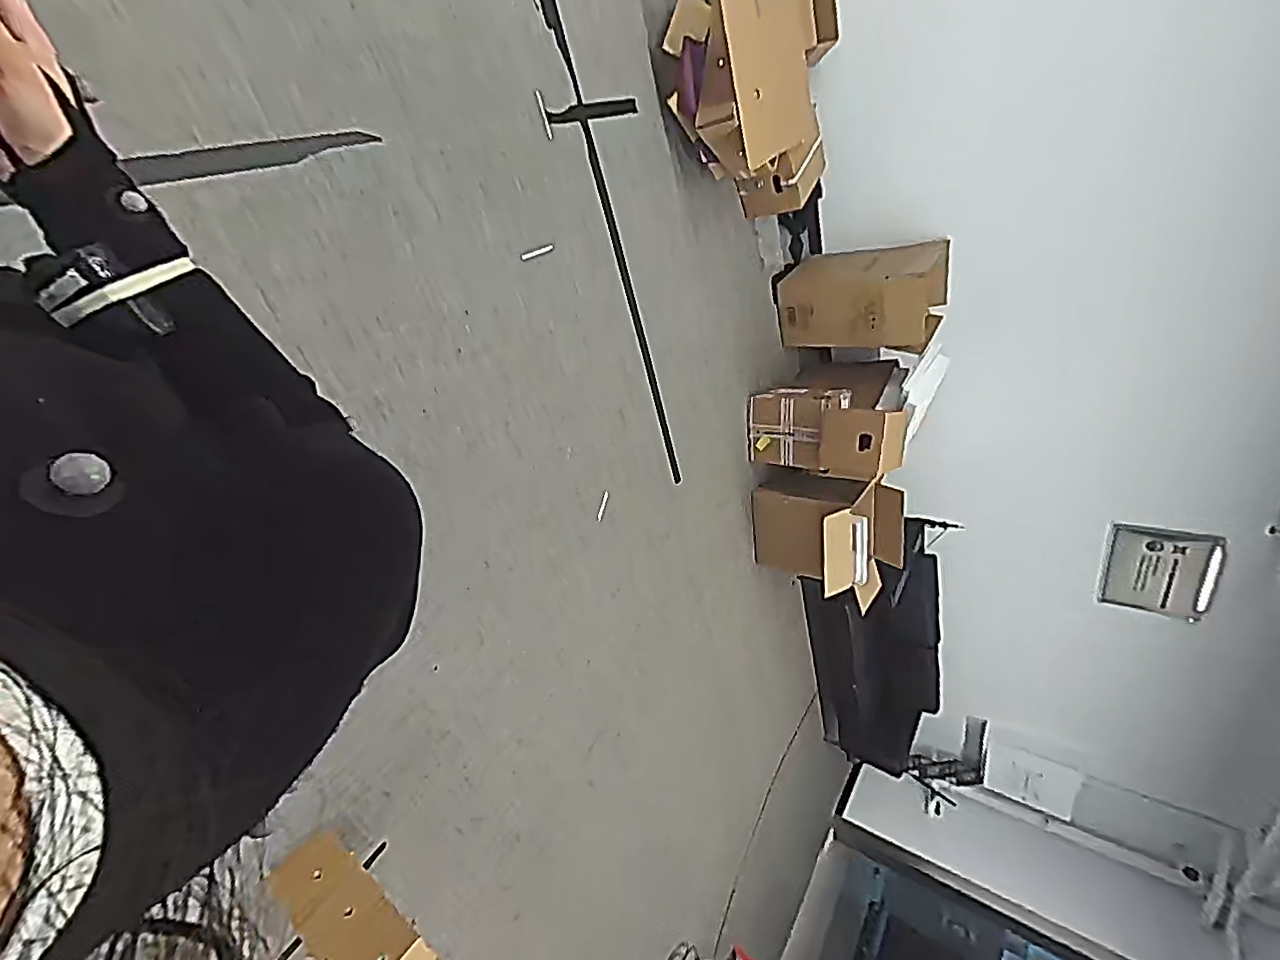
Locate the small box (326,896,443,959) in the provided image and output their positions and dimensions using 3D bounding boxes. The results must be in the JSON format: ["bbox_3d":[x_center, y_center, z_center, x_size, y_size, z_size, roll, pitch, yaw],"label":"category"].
[{"bbox_3d":[-0.607,1.150,1.282,0.179,0.176,0.168,-38,124,-42],"label":"small box"}]

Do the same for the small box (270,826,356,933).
[{"bbox_3d":[-0.869,1.102,1.472,0.179,0.176,0.168,-38,125,-42],"label":"small box"}]

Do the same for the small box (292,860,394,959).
[{"bbox_3d":[-0.737,1.126,1.376,0.179,0.176,0.168,-35,122,-44],"label":"small box"}]
